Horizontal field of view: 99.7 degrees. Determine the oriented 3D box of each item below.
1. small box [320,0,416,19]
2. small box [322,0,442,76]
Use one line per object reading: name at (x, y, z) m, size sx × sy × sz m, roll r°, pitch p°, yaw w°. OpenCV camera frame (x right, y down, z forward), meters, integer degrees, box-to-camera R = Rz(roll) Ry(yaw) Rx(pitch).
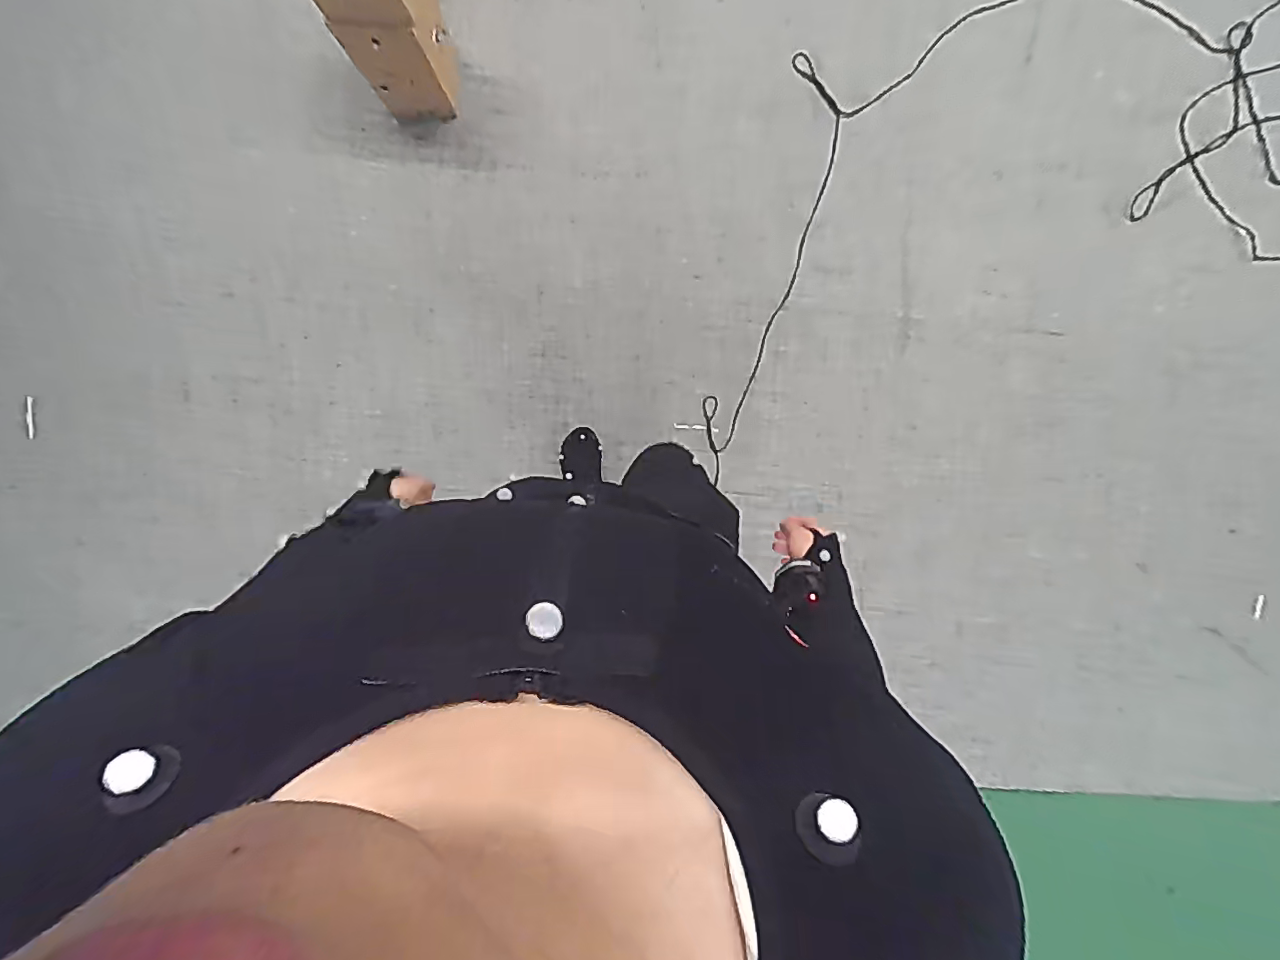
small box at (-0.512, -0.960, 0.950) m, size 0.179 × 0.176 × 0.168 m, roll 3°, pitch 97°, yaw -2°
small box at (-0.524, -0.972, 1.113) m, size 0.179 × 0.176 × 0.168 m, roll 2°, pitch 97°, yaw -3°
